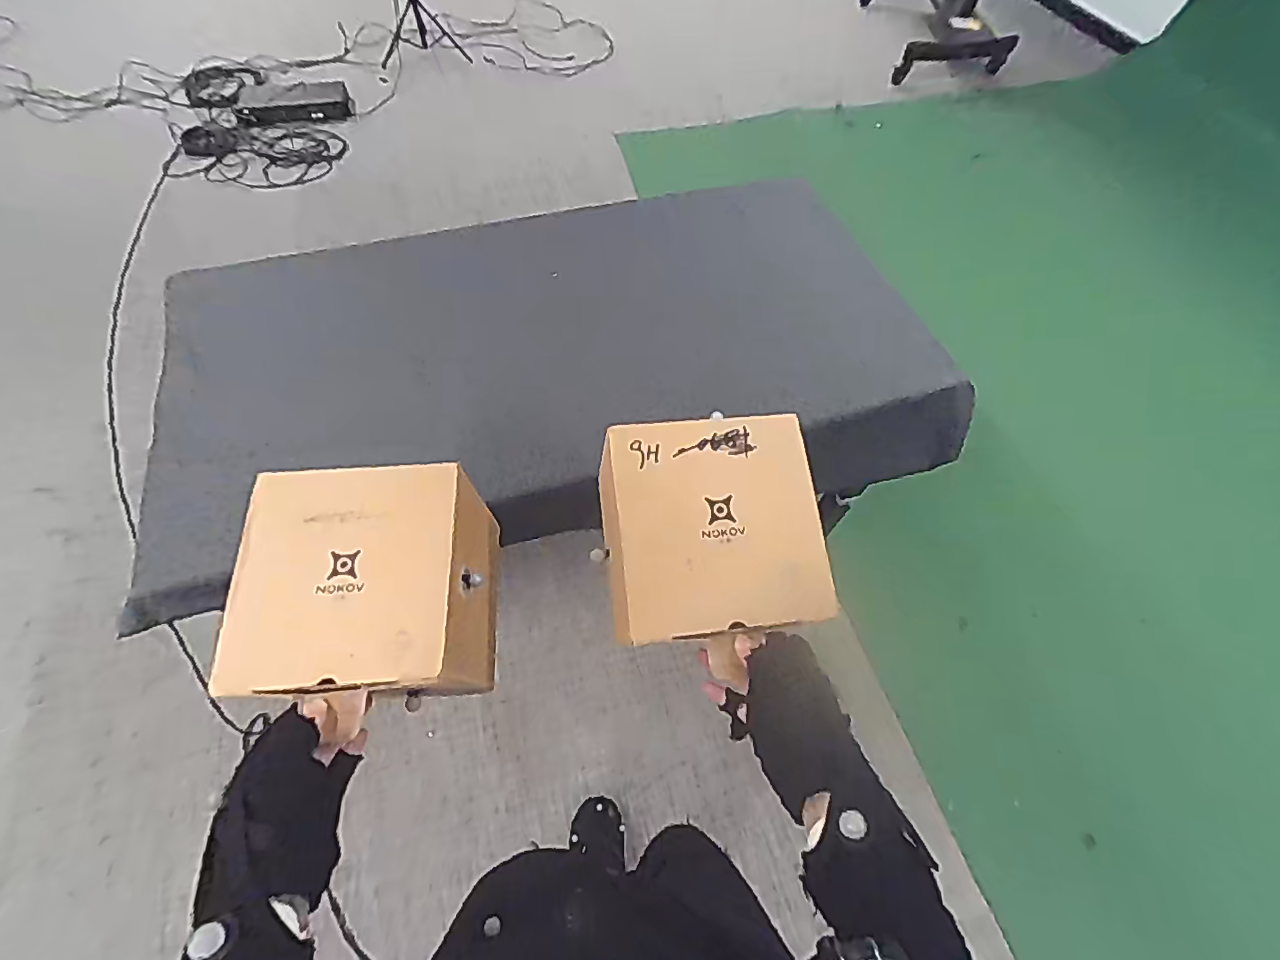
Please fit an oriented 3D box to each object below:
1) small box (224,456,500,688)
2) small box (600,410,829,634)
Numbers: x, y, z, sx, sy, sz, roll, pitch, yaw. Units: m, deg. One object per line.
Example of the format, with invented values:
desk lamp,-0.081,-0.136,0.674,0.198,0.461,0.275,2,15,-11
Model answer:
small box,-0.229,0.094,0.501,0.168,0.176,0.179,-3,66,-4
small box,0.054,0.046,0.518,0.168,0.176,0.179,-4,76,-10
